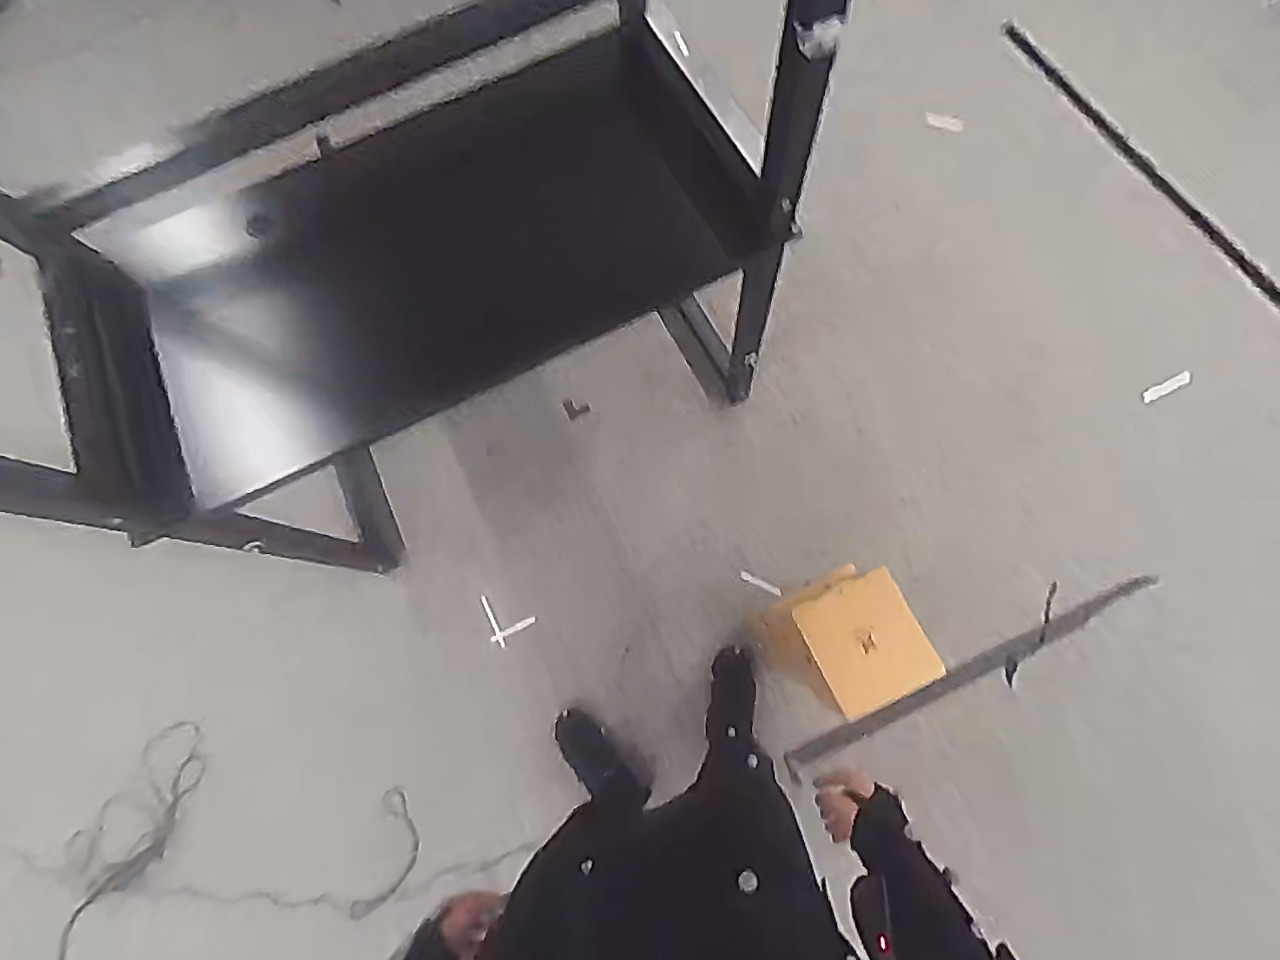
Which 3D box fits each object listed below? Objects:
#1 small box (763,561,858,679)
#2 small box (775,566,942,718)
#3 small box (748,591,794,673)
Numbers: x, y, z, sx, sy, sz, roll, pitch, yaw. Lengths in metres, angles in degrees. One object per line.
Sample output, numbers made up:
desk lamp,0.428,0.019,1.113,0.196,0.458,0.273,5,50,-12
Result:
small box,0.353,0.275,1.043,0.179,0.176,0.168,-28,76,-3
small box,0.341,0.256,0.882,0.168,0.176,0.179,-25,75,-2
small box,0.389,0.363,1.358,0.179,0.176,0.168,-27,75,-2
